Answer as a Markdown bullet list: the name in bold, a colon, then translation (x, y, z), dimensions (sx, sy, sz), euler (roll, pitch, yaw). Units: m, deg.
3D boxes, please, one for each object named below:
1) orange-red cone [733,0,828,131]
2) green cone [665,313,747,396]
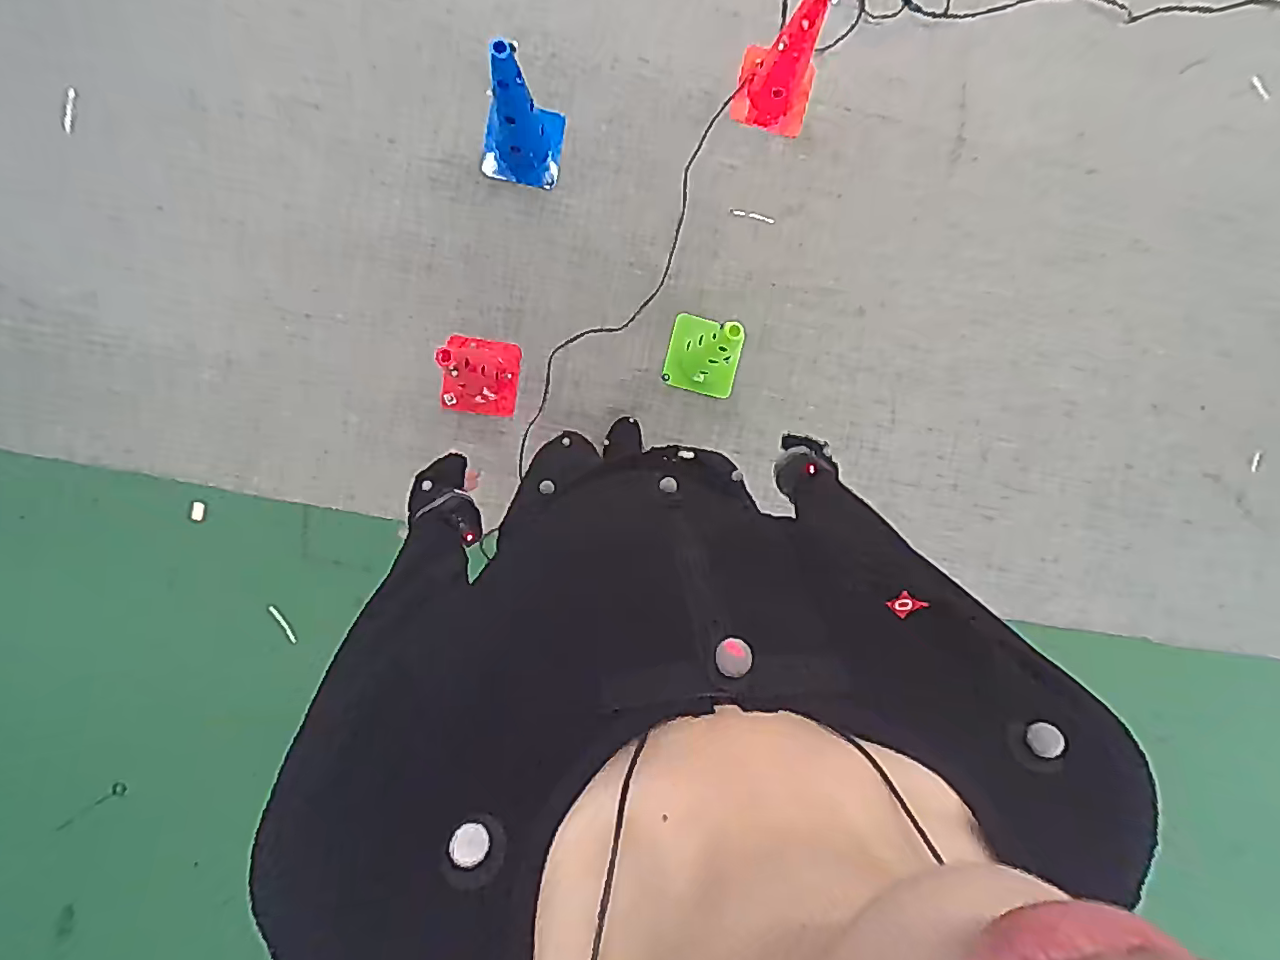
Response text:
- **orange-red cone**: translation (0.372, -1.045, 1.286), dimensions (0.198, 0.360, 0.199), euler (15, 95, -4)
- **green cone**: translation (0.196, -0.336, 1.323), dimensions (0.200, 0.368, 0.202), euler (13, 92, -5)
